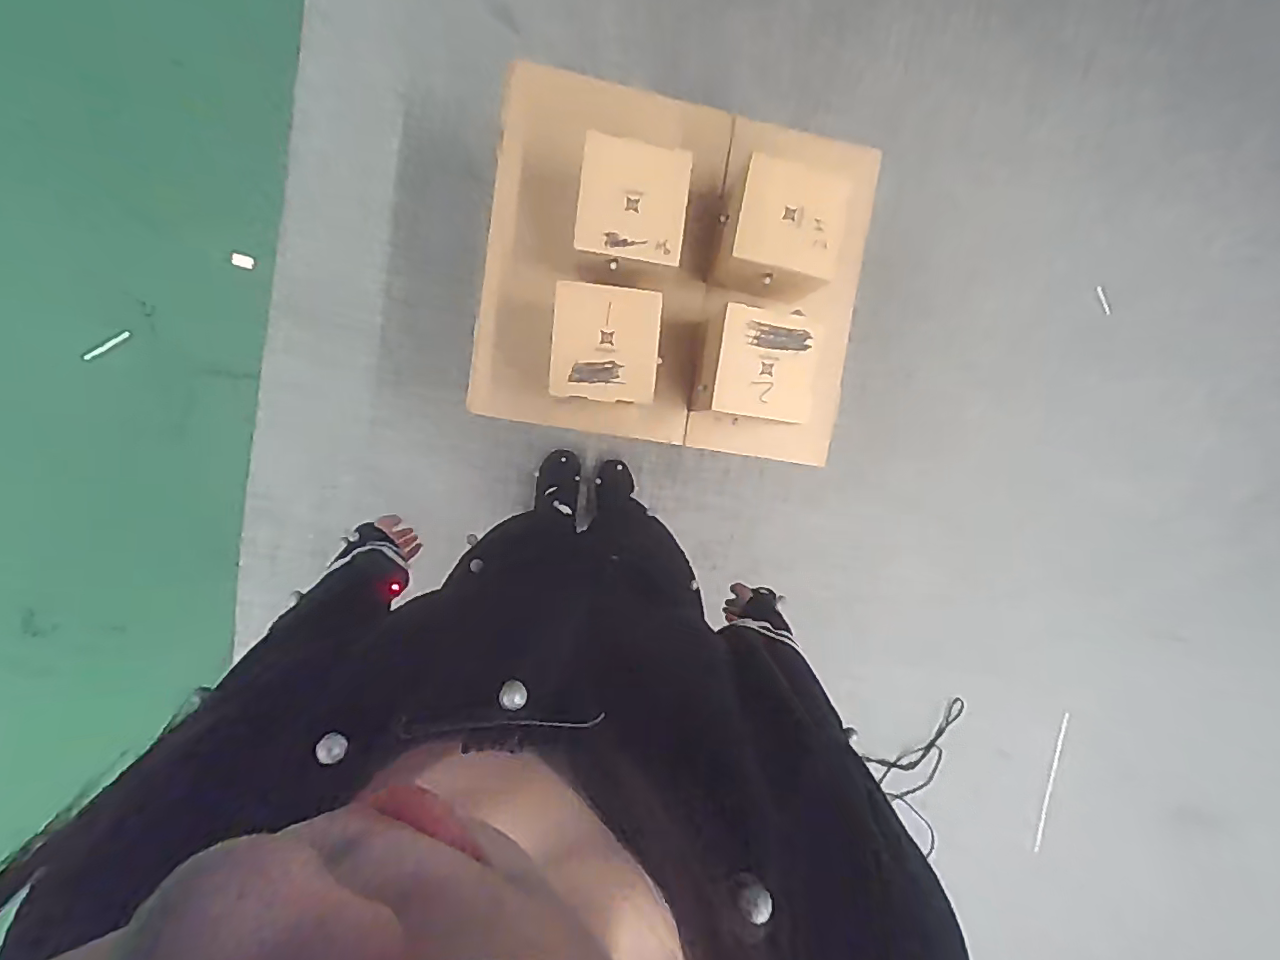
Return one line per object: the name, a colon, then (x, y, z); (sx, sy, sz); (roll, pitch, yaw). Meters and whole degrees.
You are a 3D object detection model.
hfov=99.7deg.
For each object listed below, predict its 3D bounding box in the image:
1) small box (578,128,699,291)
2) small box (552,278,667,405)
small box: (-0.010, -0.430, 0.890); (0.168, 0.176, 0.179); (7, 94, -6)
small box: (-0.055, -0.220, 0.908); (0.168, 0.176, 0.179); (4, 95, -7)
